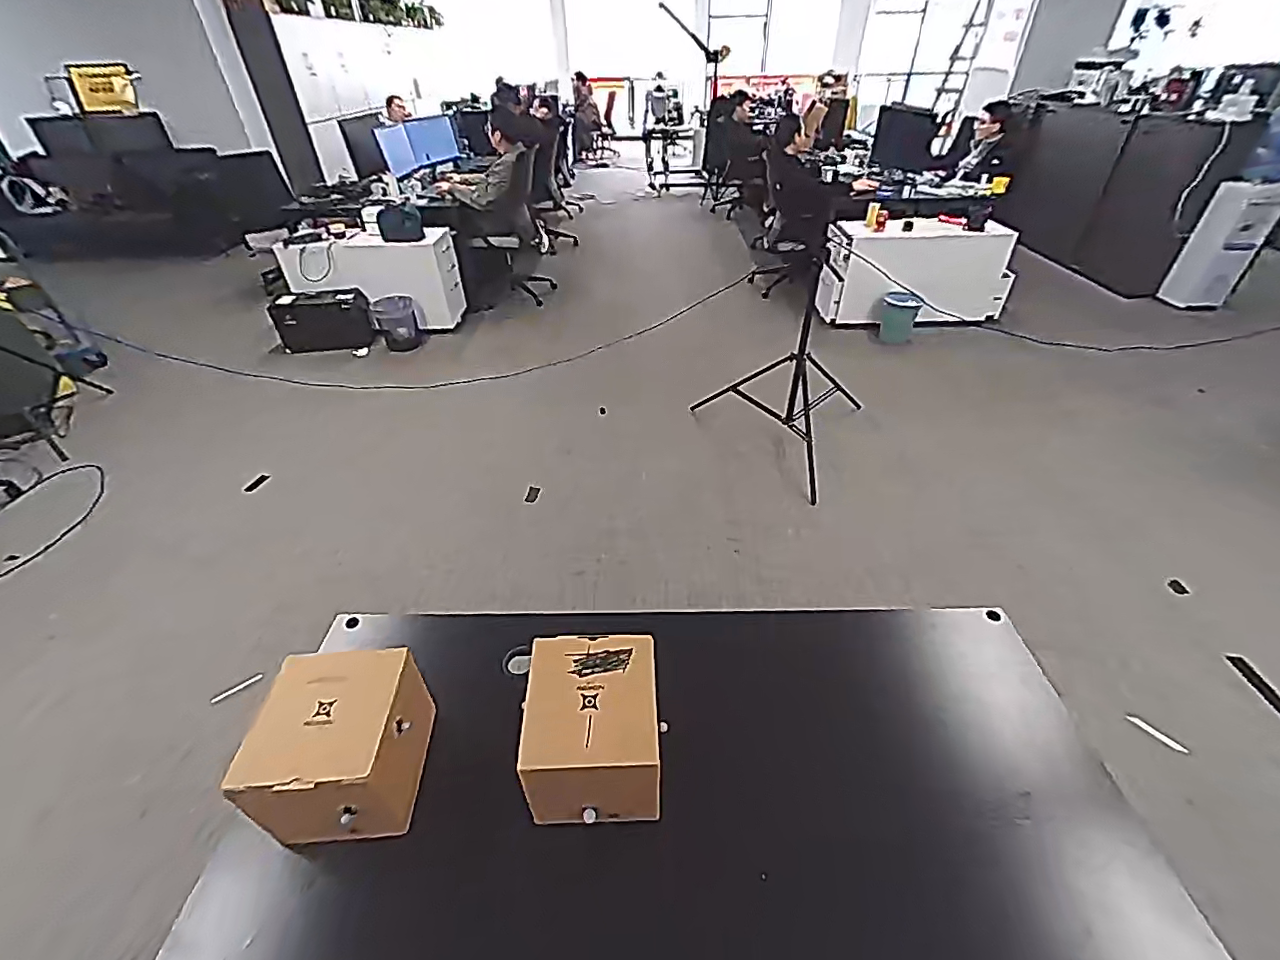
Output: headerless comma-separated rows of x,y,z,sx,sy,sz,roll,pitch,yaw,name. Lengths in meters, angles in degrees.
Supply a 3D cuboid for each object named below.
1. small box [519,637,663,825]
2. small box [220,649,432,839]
-0.057,0.334,0.726,0.168,0.176,0.179,-2,39,-1,small box
-0.390,0.350,0.714,0.168,0.176,0.179,-2,38,-4,small box
